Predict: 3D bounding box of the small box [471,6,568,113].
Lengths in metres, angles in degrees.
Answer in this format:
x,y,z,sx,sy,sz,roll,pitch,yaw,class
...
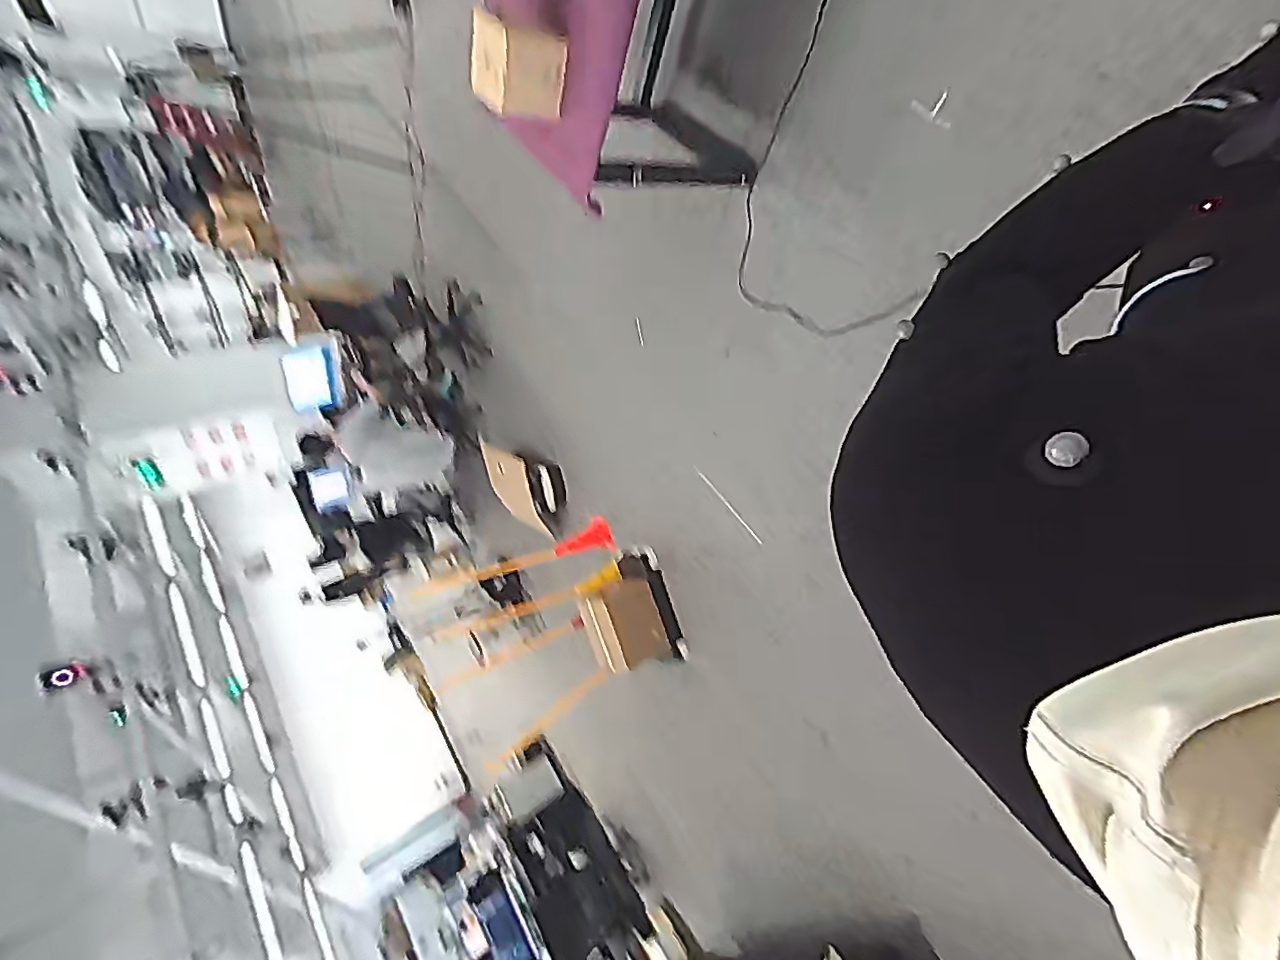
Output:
x,y,z,sx,sy,sz,roll,pitch,yaw,class
-0.307,-1.051,1.365,0.179,0.176,0.168,50,141,26,small box
